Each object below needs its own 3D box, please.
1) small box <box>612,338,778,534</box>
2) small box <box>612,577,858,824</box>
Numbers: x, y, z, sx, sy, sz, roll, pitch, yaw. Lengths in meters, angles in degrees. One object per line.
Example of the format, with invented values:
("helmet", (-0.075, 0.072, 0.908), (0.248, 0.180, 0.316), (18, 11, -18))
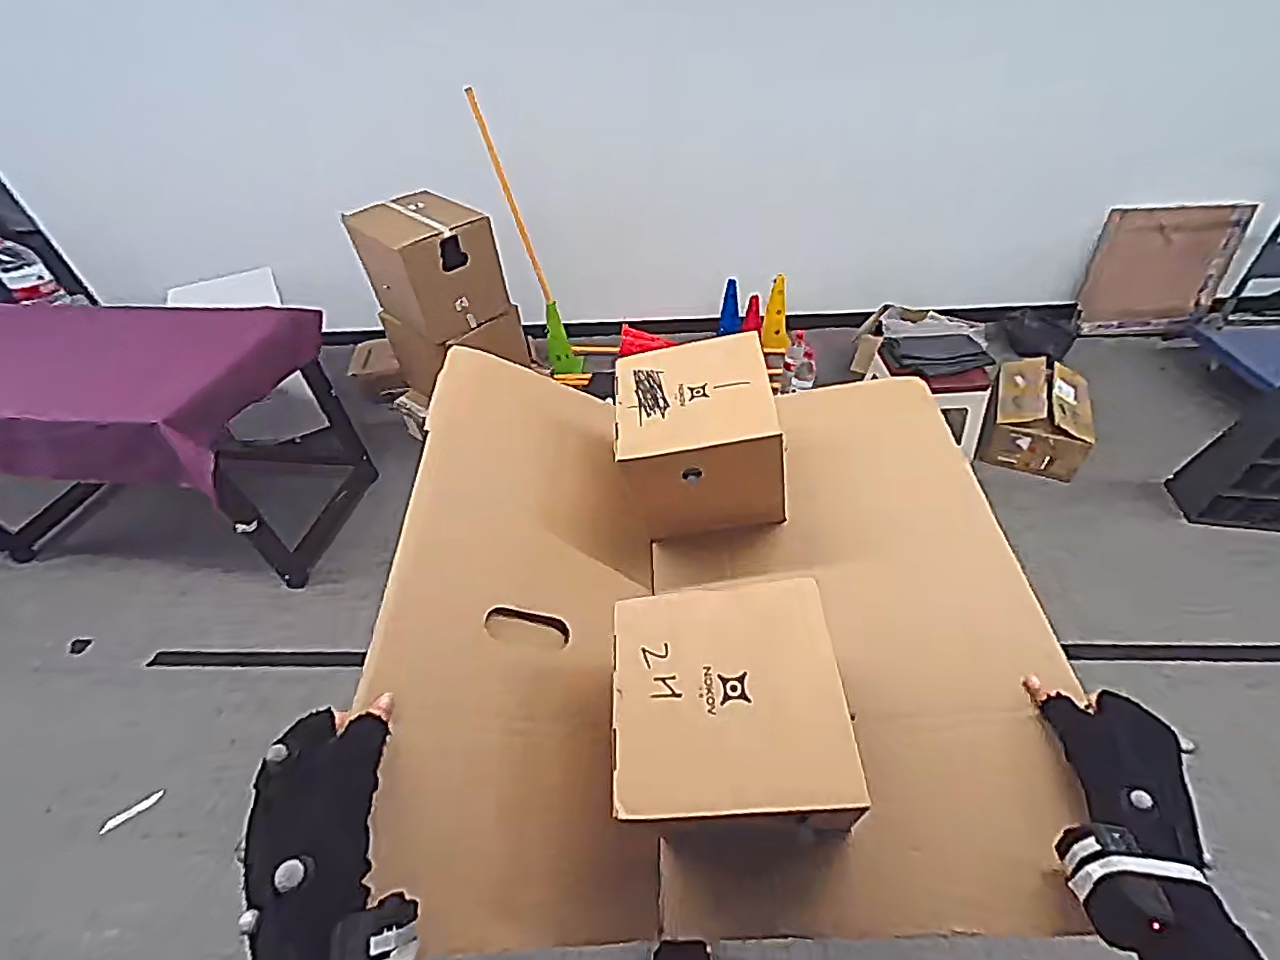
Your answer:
("small box", (0.071, -0.047, 0.680), (0.179, 0.176, 0.168), (-9, 52, 9))
("small box", (0.081, 0.206, 0.488), (0.179, 0.176, 0.168), (-9, 52, 11))
